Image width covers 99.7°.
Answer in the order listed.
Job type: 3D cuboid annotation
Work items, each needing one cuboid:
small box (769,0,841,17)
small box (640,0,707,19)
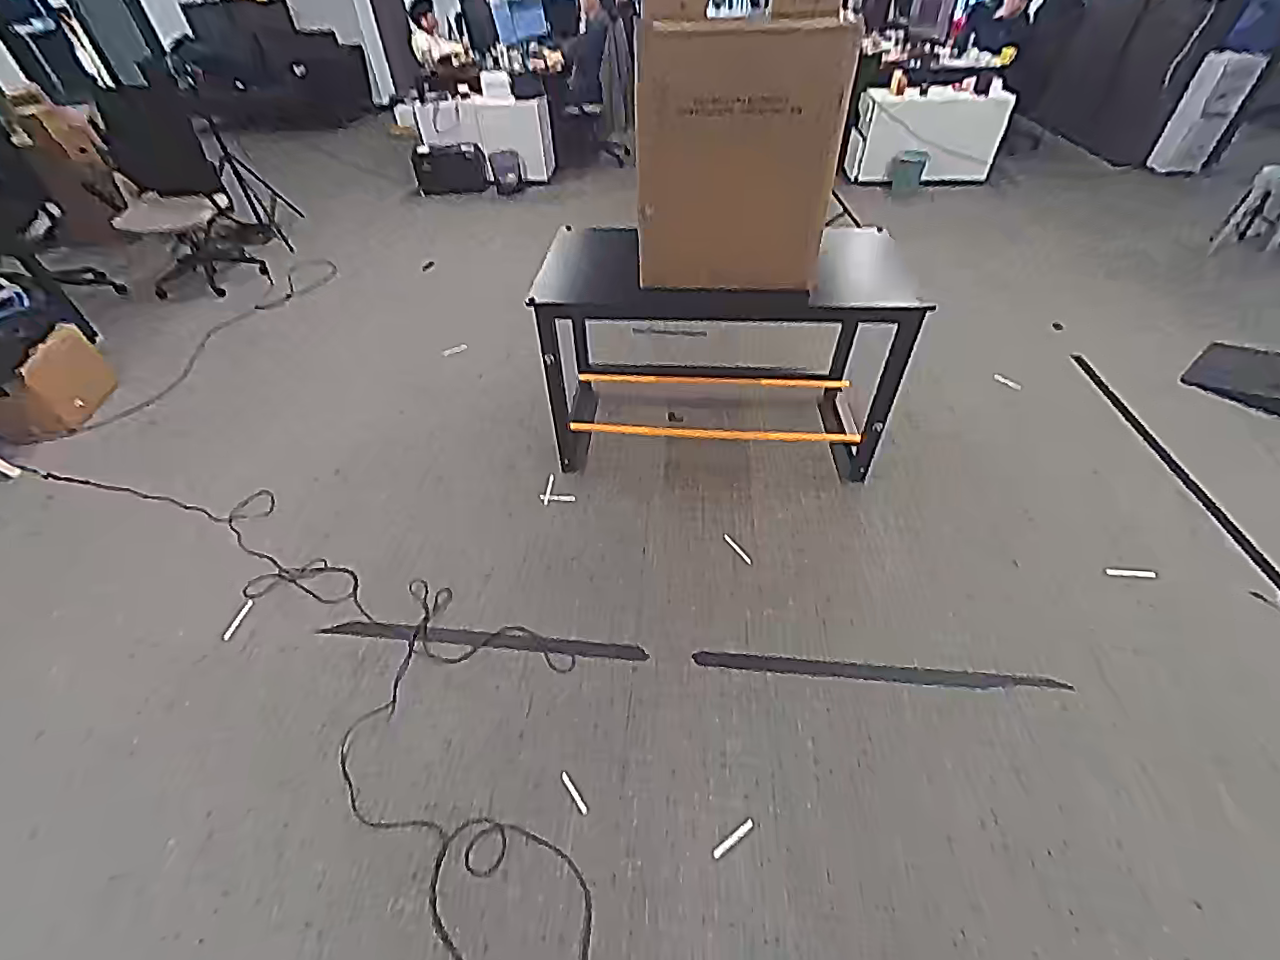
[{"bbox_3d":[0.410,-1.249,1.322,0.168,0.176,0.179,2,44,7],"label":"small box"},{"bbox_3d":[0.085,-1.267,1.351,0.168,0.176,0.179,0,45,0],"label":"small box"}]
